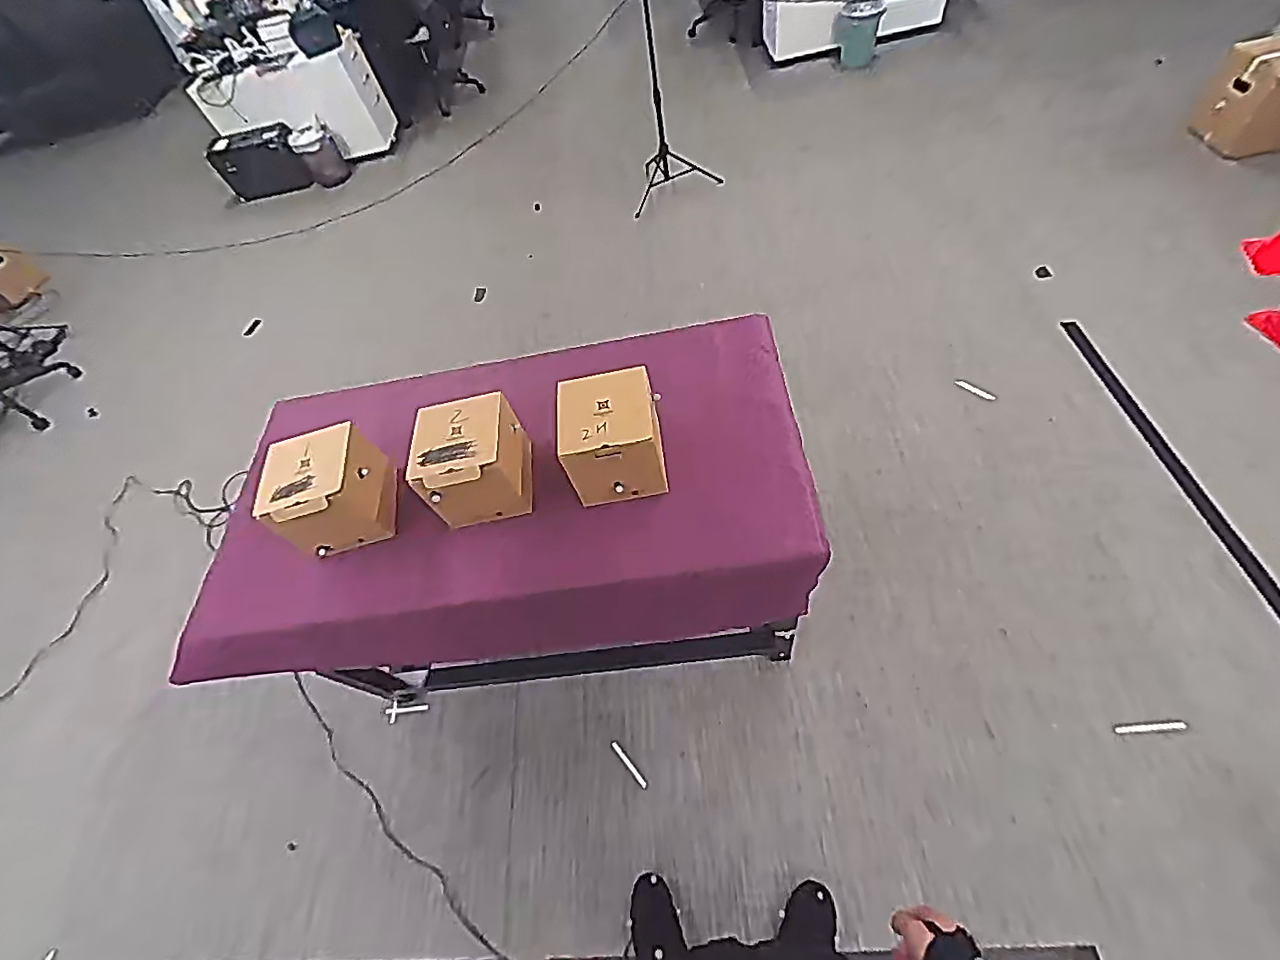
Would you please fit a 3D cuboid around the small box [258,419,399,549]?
[{"bbox_3d":[-0.590,0.017,1.049,0.168,0.176,0.179,-16,55,1],"label":"small box"}]

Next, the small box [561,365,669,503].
[{"bbox_3d":[-0.043,-0.081,0.998,0.168,0.176,0.179,-10,56,6],"label":"small box"}]
